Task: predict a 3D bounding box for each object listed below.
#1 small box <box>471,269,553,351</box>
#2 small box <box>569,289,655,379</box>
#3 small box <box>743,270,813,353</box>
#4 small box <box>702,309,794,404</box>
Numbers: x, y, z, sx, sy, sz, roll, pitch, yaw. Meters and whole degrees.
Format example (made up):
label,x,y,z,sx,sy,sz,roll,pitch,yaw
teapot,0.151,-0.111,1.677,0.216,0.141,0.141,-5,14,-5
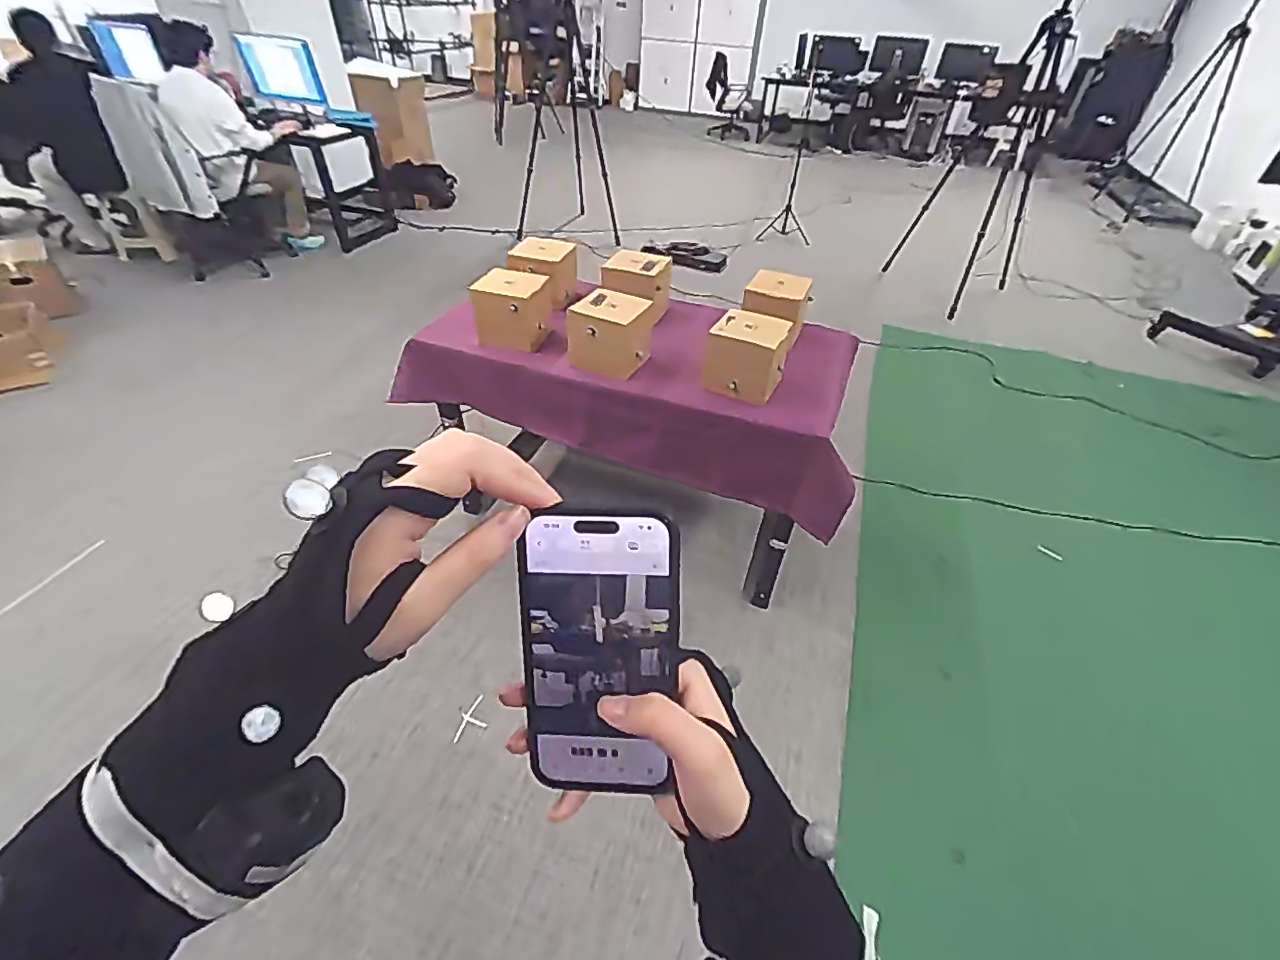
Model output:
label,x,y,z,sx,sy,sz,roll,pitch,yaw
small box,-0.364,-0.491,1.567,0.179,0.176,0.168,13,42,8
small box,-0.077,-0.399,1.483,0.179,0.176,0.168,21,45,17
small box,0.407,-0.510,1.636,0.168,0.176,0.179,18,45,17
small box,0.280,-0.321,1.419,0.179,0.176,0.168,21,44,18
